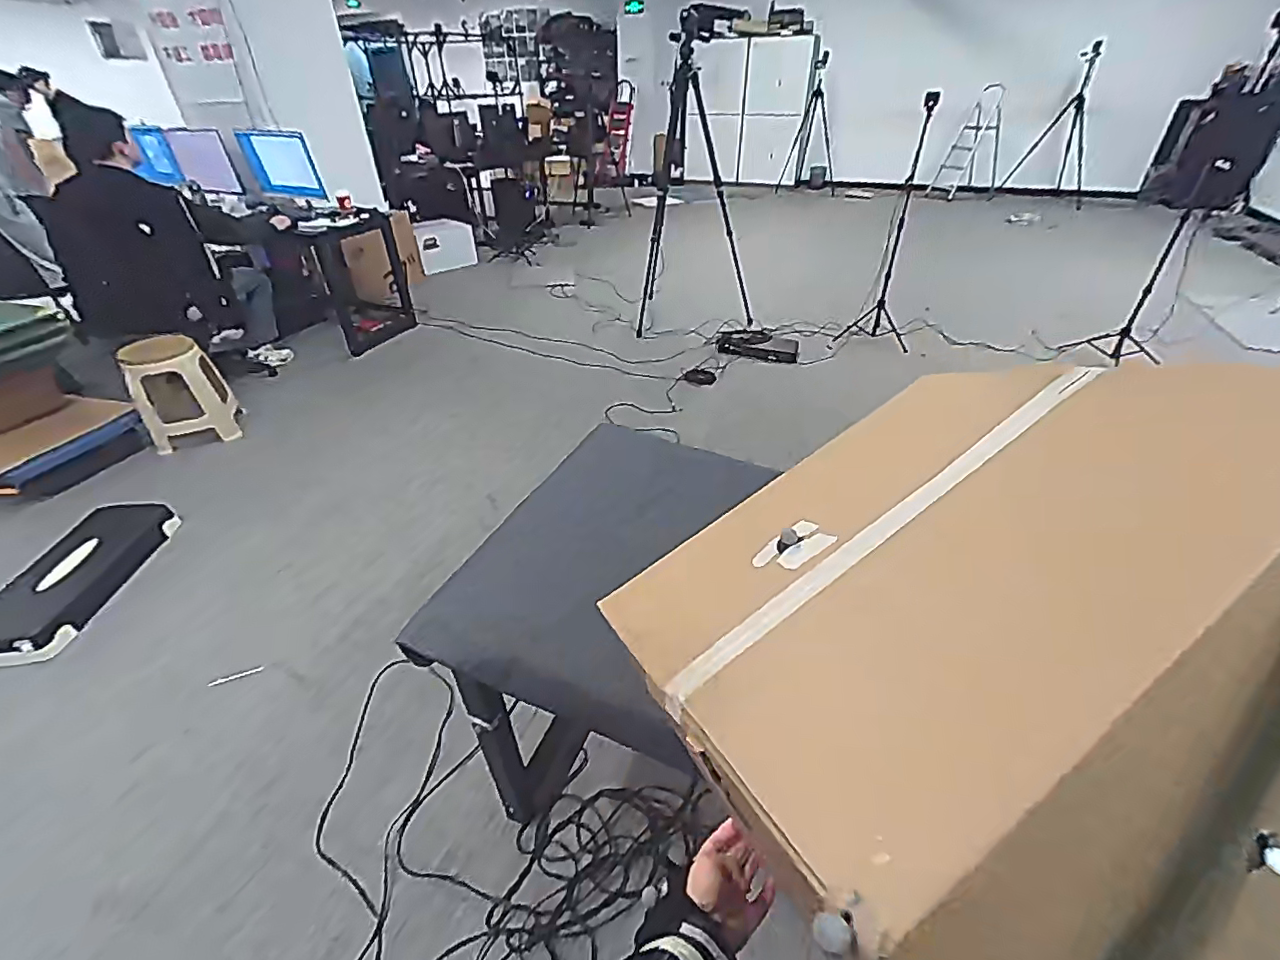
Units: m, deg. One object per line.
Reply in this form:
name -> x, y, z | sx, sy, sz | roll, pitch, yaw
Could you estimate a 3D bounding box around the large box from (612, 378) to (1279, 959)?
large box -> 0.259, 0.156, 0.425 | 0.408, 0.320, 0.320 | -35, 21, -14
